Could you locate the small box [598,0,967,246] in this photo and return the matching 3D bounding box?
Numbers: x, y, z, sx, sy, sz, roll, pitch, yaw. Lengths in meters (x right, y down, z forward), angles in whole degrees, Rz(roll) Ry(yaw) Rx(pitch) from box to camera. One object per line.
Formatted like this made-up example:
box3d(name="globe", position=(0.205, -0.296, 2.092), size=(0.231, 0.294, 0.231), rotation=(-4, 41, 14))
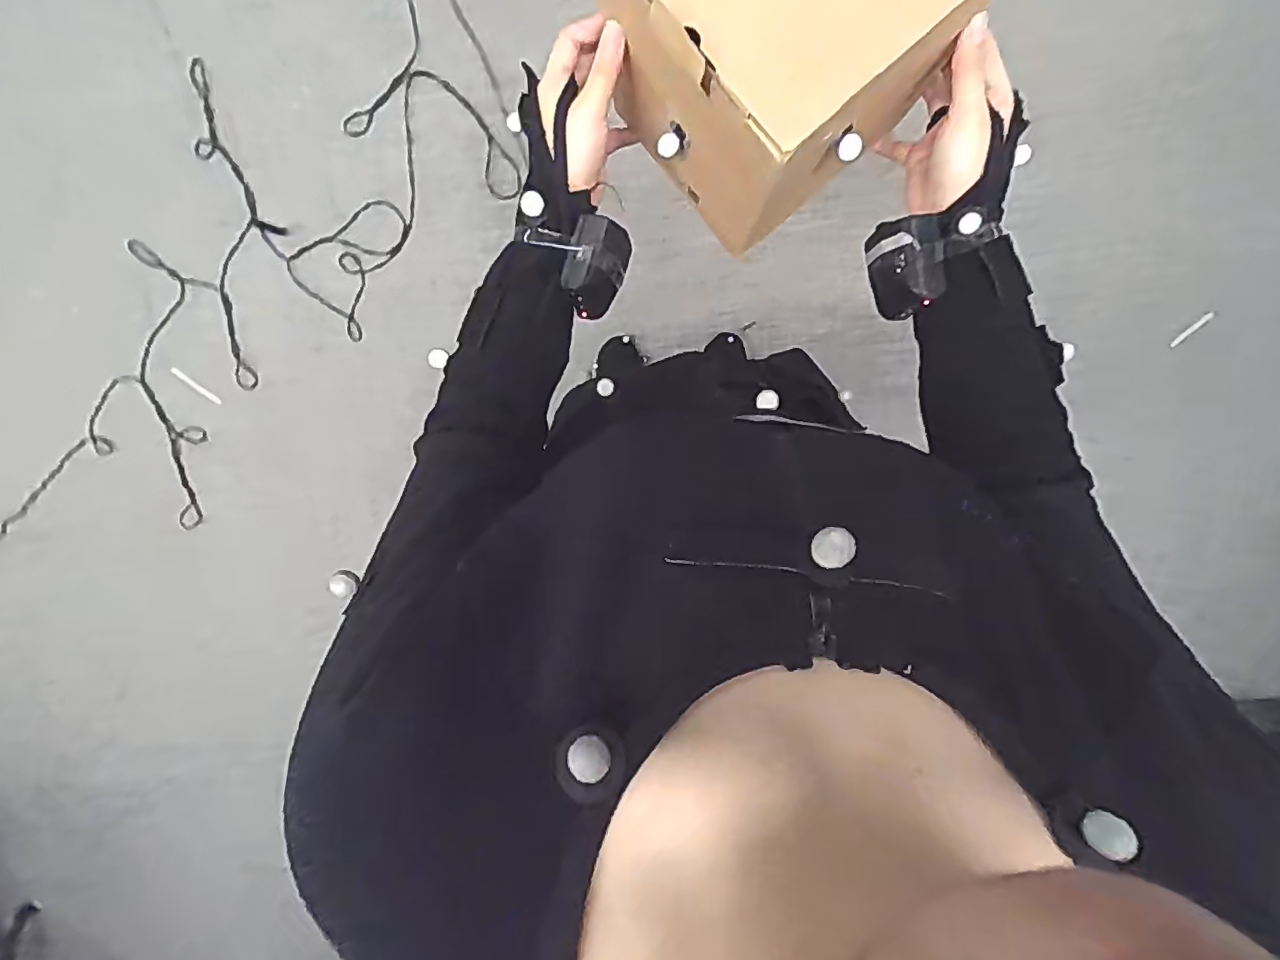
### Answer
box3d(name="small box", position=(0.090, -0.301, 0.375), size=(0.179, 0.176, 0.168), rotation=(-41, 92, 5))
